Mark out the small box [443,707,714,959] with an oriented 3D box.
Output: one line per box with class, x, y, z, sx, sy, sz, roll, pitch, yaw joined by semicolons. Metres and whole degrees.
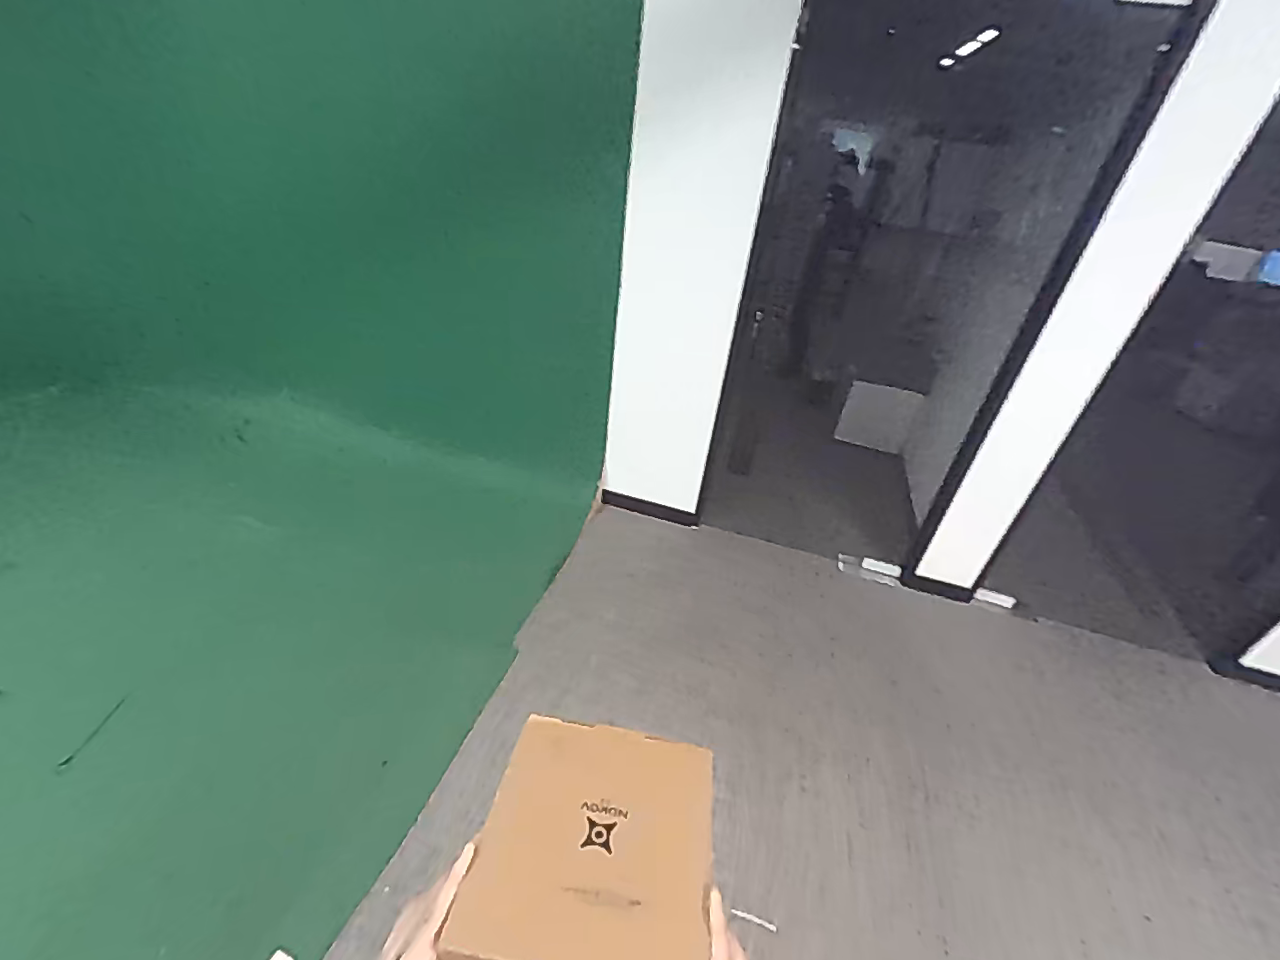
small box;-0.039;0.319;0.424;0.168;0.176;0.179;9;26;4
